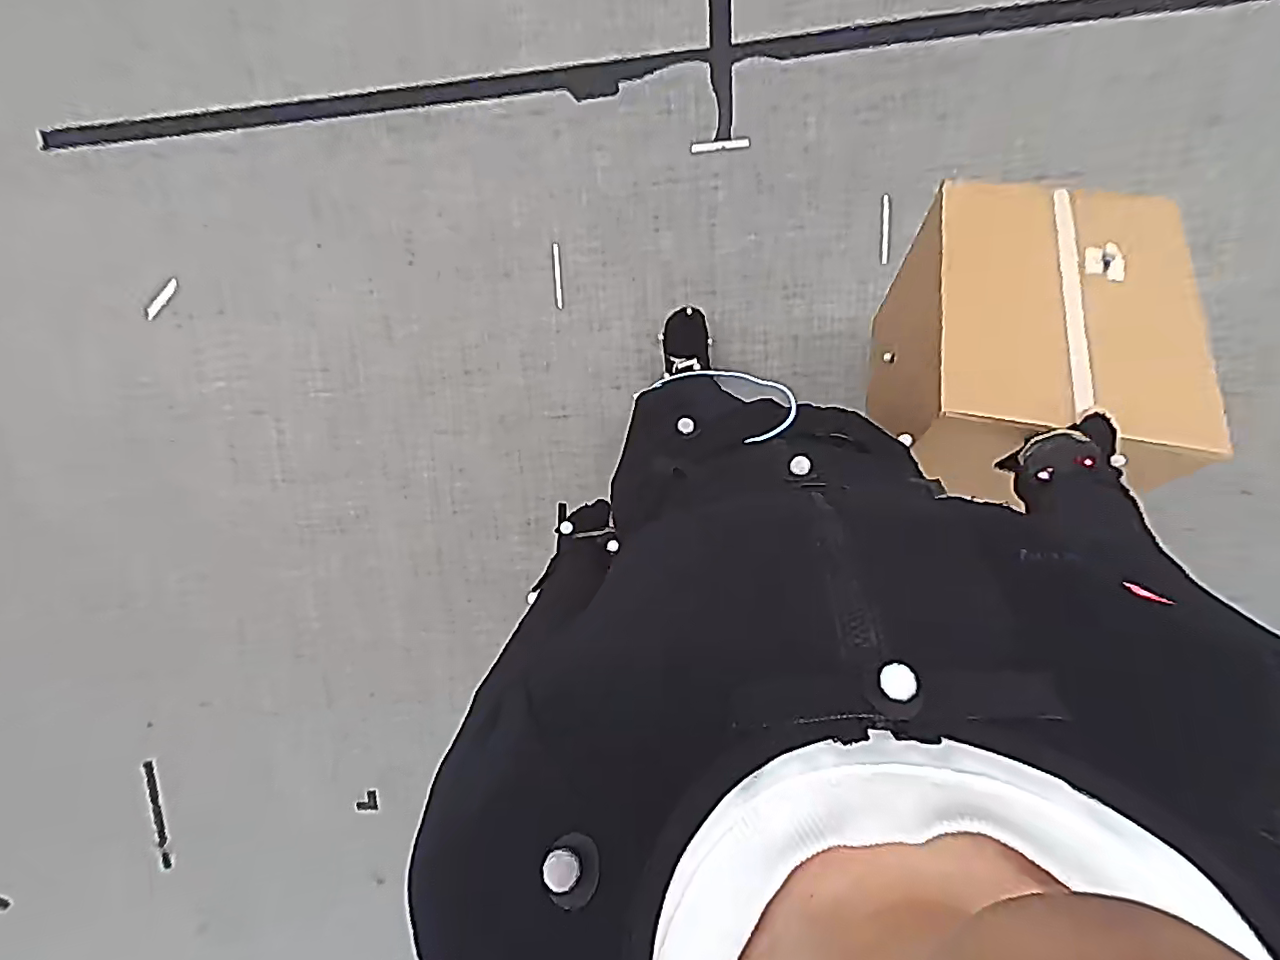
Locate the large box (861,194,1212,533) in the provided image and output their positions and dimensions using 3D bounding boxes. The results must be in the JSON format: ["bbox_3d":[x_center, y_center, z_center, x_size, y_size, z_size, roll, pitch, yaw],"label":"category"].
[{"bbox_3d":[0.558,-0.170,0.857,0.320,0.320,0.408,11,65,6],"label":"large box"}]
